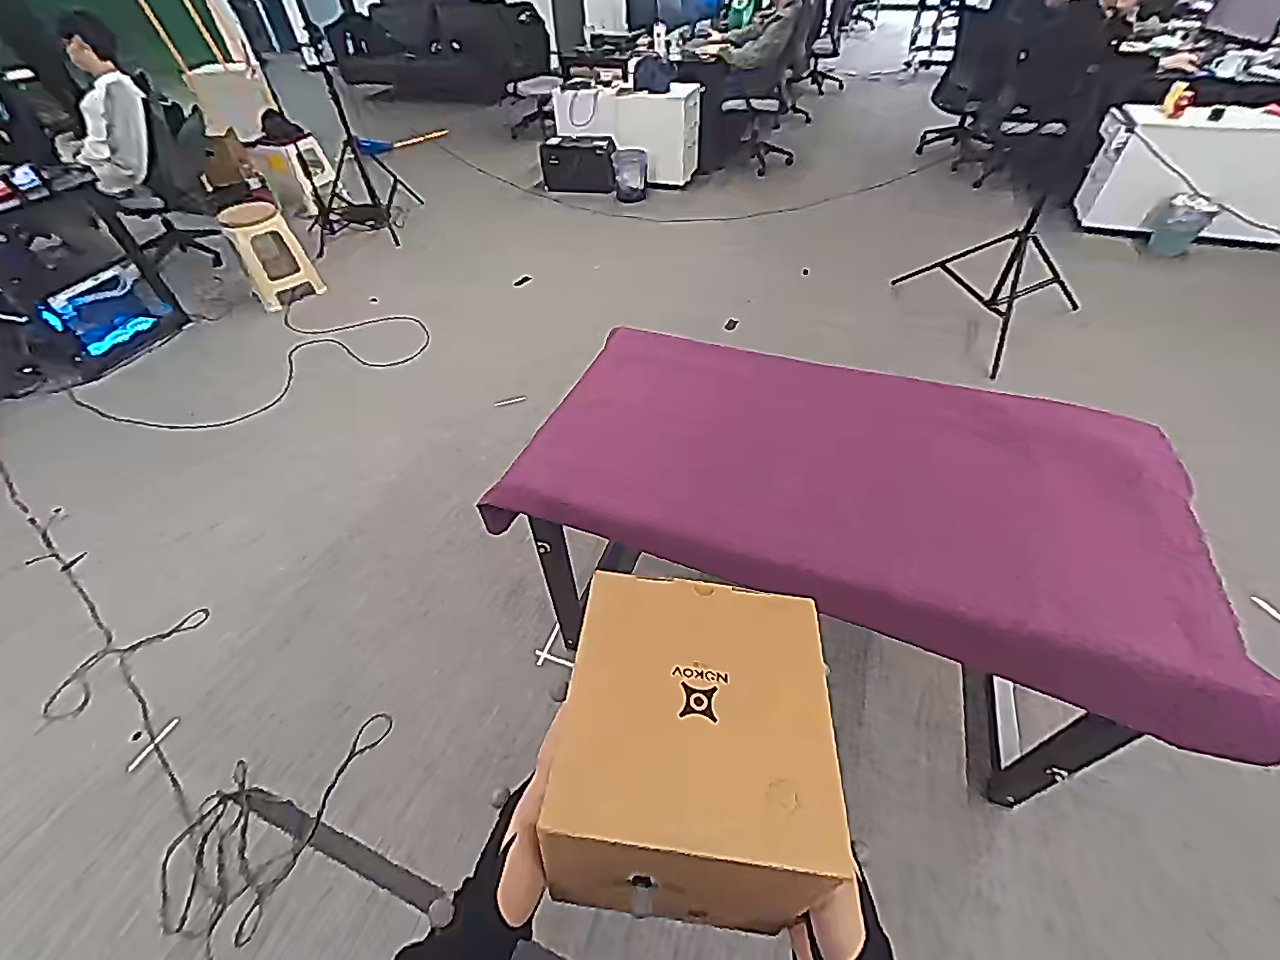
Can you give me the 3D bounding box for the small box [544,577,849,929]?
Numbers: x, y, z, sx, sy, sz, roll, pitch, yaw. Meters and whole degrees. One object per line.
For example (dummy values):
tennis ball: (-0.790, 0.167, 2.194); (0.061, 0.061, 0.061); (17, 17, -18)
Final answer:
small box: (0.034, 0.199, 0.398); (0.168, 0.176, 0.179); (7, 41, 2)
